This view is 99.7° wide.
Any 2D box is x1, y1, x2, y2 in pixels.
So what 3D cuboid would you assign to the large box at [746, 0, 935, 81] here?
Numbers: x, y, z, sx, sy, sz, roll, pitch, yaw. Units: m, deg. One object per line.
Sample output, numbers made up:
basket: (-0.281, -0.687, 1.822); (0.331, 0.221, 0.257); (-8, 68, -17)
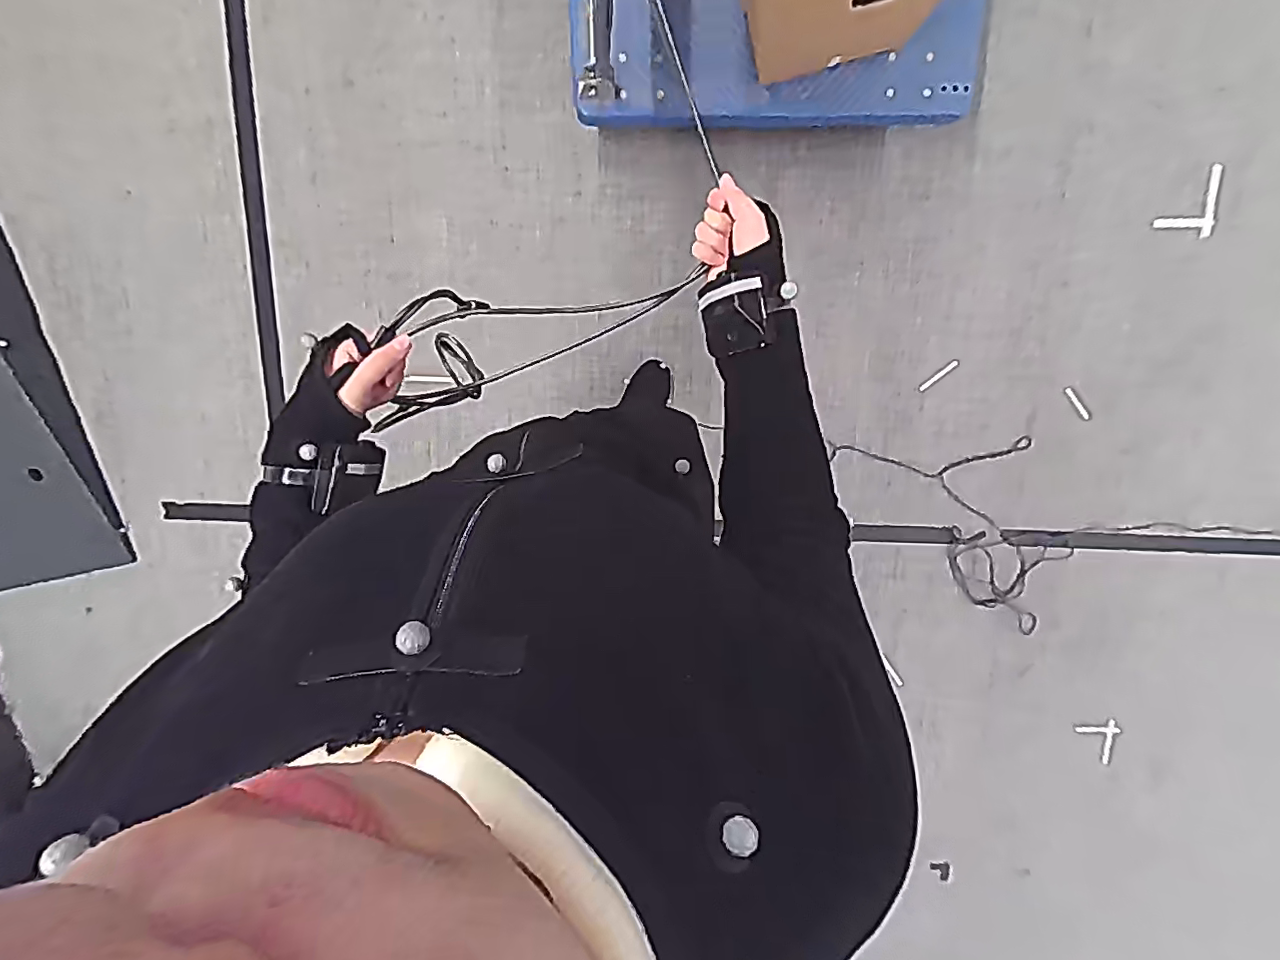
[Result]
large box: (0.359, -1.045, 0.968); (0.320, 0.320, 0.408); (-15, 102, 3)
